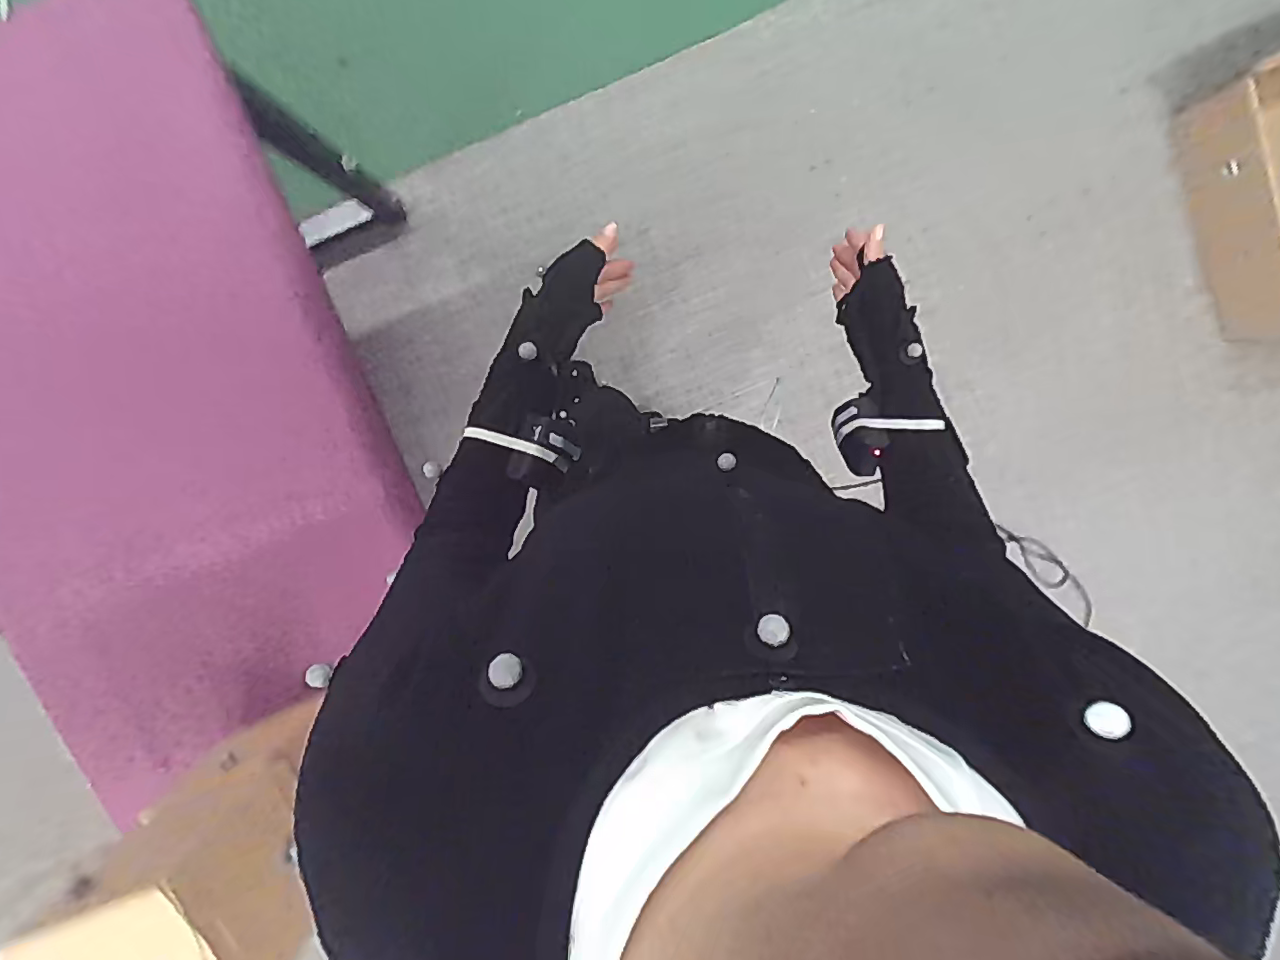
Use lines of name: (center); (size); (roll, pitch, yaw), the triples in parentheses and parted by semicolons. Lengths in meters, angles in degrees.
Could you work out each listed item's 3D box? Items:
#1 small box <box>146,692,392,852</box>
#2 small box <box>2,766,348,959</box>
small box: (-0.476, 0.424, 0.724); (0.179, 0.176, 0.168); (-25, 99, 3)
small box: (-0.452, 0.443, 0.561); (0.179, 0.176, 0.168); (-23, 99, 2)
